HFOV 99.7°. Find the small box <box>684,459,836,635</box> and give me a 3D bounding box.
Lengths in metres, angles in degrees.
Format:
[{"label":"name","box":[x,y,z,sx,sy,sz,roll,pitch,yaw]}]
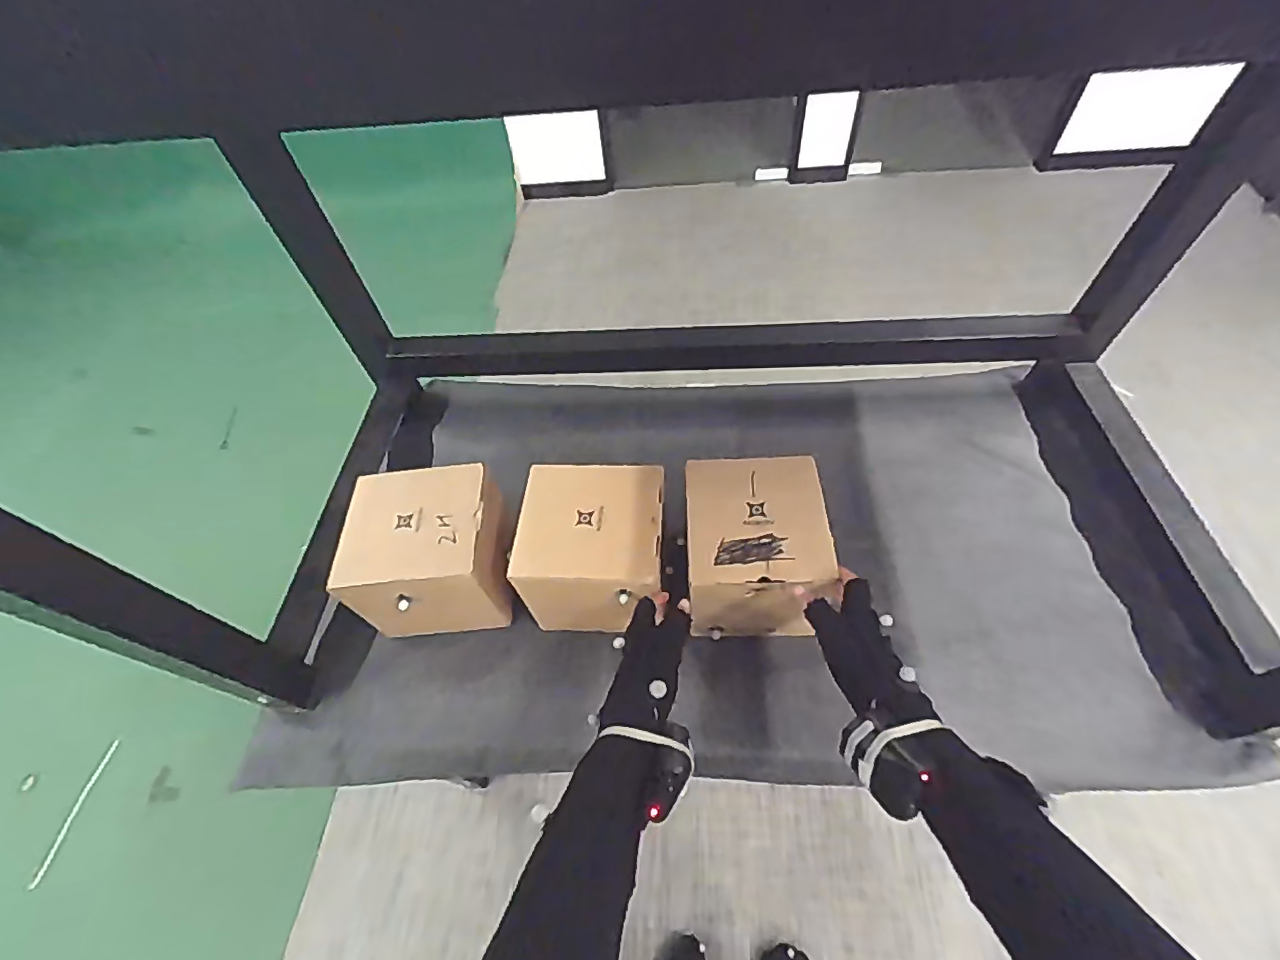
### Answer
[{"label":"small box","box":[0.143,0.093,0.702,0.168,0.176,0.179,-2,54,5]}]
